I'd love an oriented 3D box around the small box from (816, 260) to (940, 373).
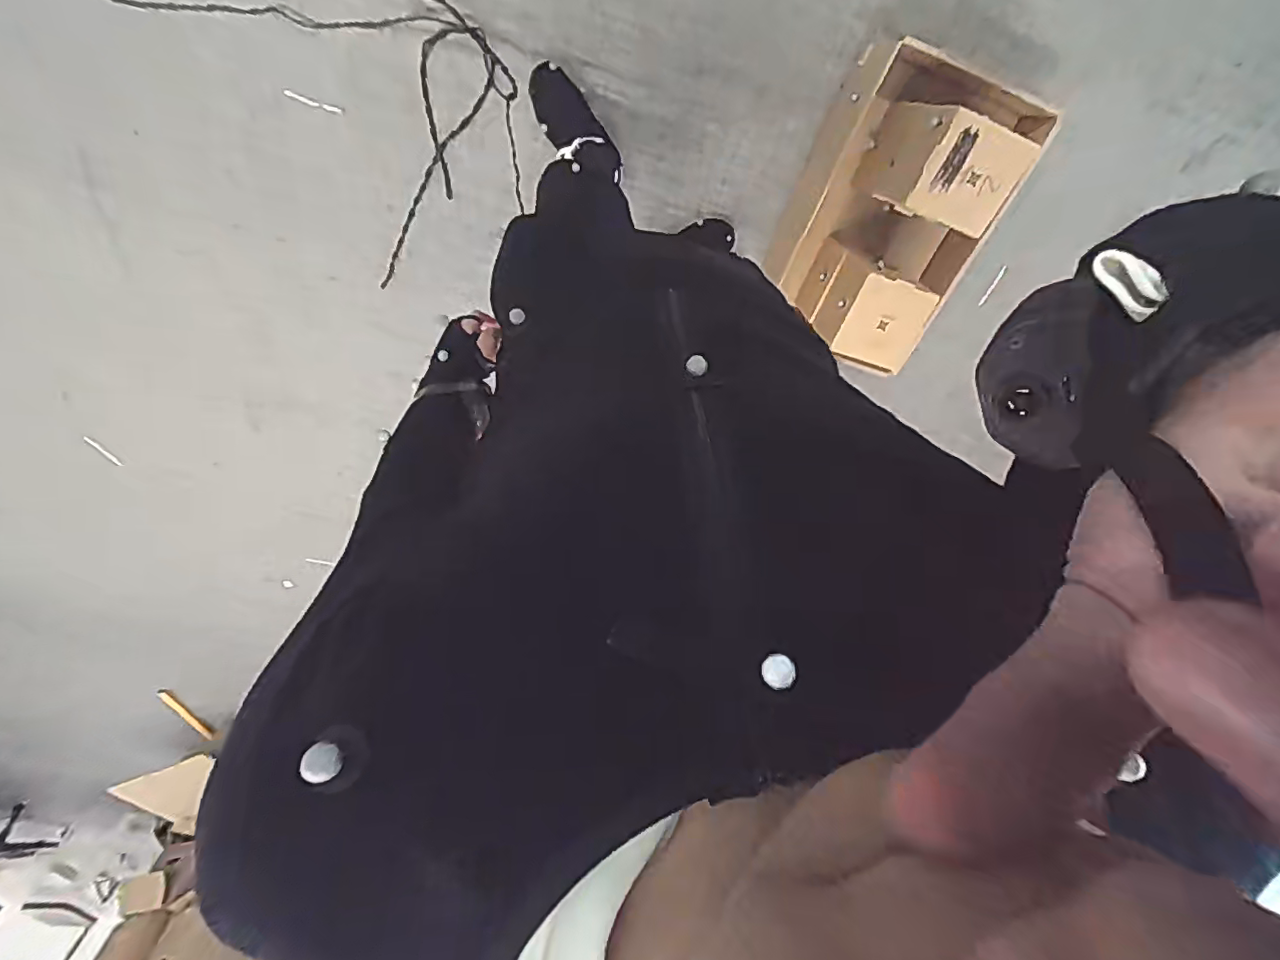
[{"bbox_3d":[0.516,-0.370,1.205,0.168,0.176,0.179,16,124,-8],"label":"small box"}]
